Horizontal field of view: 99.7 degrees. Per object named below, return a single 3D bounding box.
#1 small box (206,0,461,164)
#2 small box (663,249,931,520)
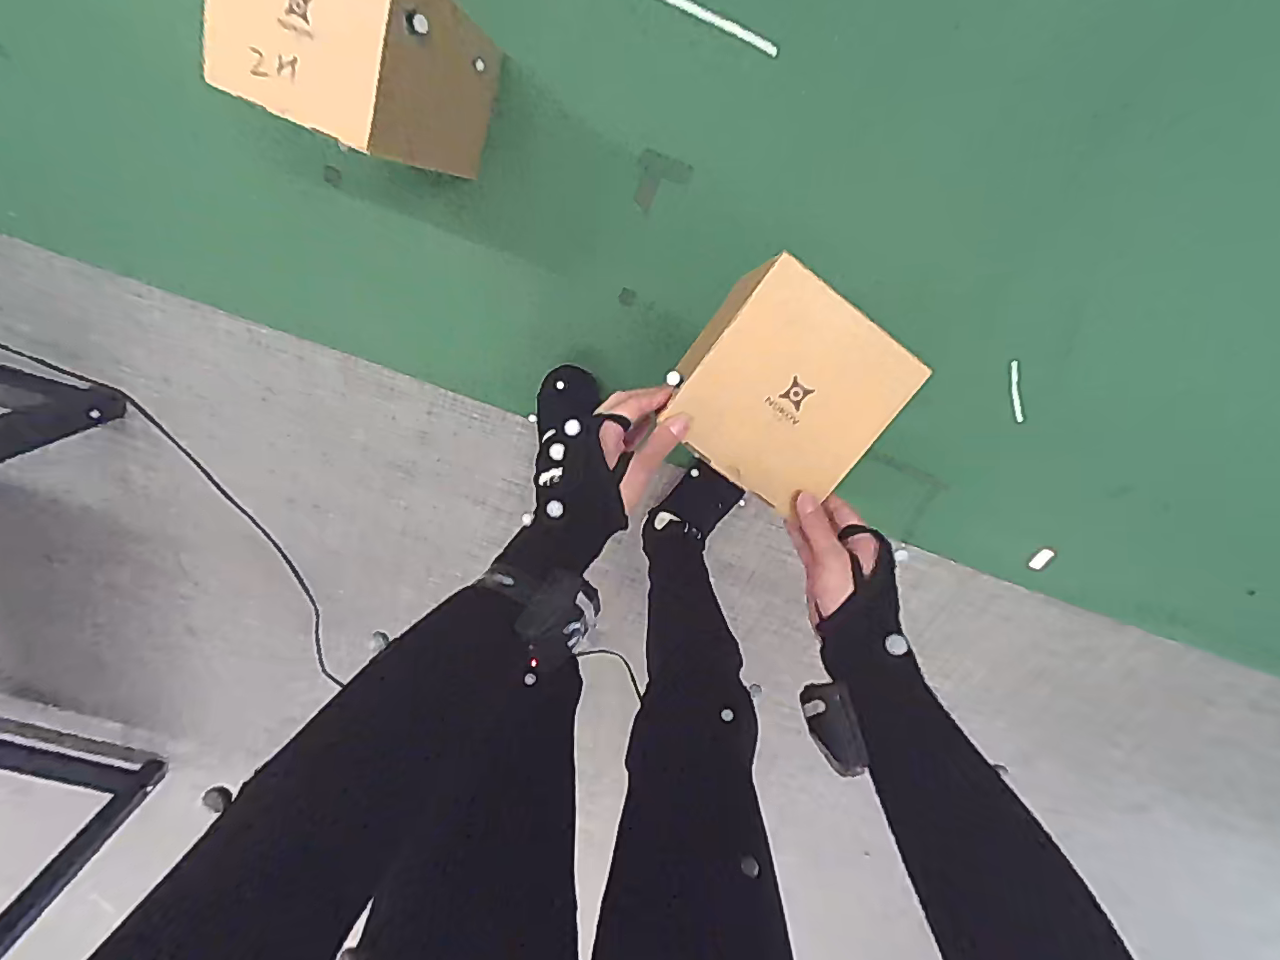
[{"bbox_3d":[-0.308,-0.466,0.573,0.168,0.176,0.179,22,114,-6],"label":"small box"},{"bbox_3d":[0.133,-0.097,0.539,0.168,0.176,0.179,35,103,-9],"label":"small box"}]
